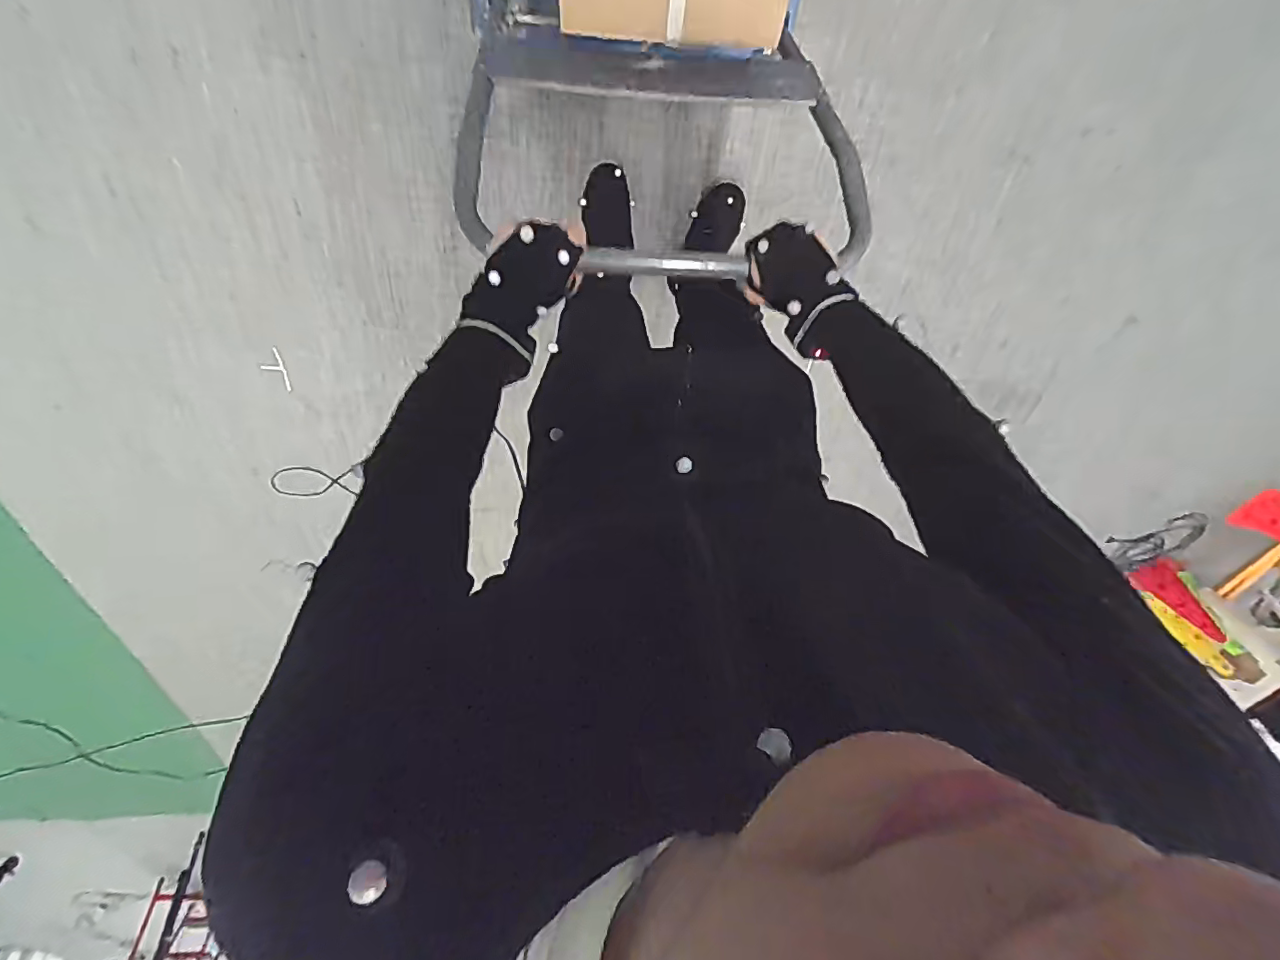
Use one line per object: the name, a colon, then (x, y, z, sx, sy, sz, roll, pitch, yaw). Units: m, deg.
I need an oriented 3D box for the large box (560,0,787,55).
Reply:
large box: (0.048, -0.853, 0.709, 0.320, 0.320, 0.408, -1, 143, -6)
